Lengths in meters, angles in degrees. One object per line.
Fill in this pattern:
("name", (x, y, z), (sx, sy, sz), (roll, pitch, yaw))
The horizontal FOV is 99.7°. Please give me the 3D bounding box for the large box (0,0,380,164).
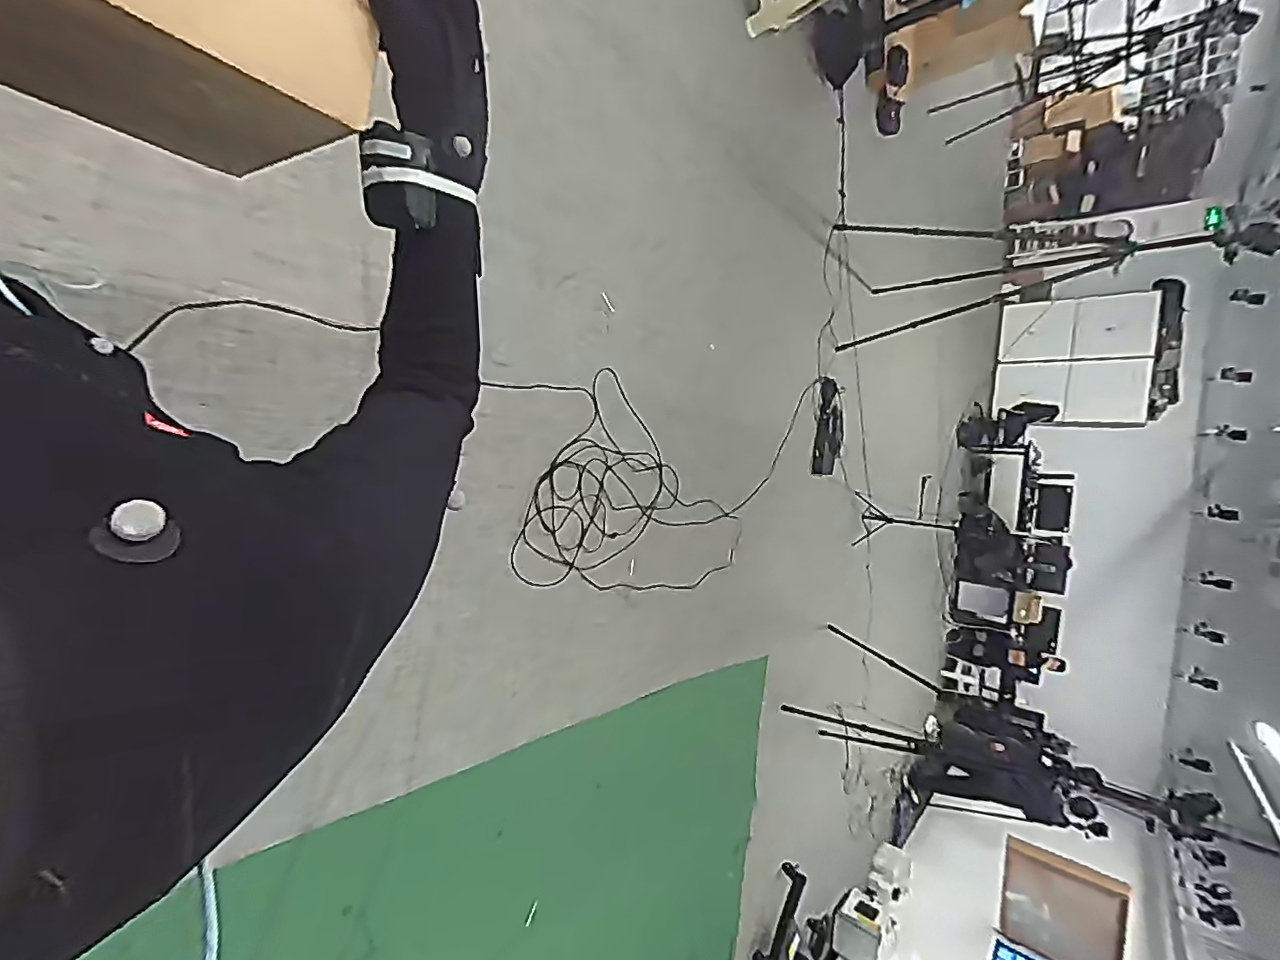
("large box", (-0.402, -0.443, 0.304), (0.408, 0.320, 0.320), (3, 103, -50))
